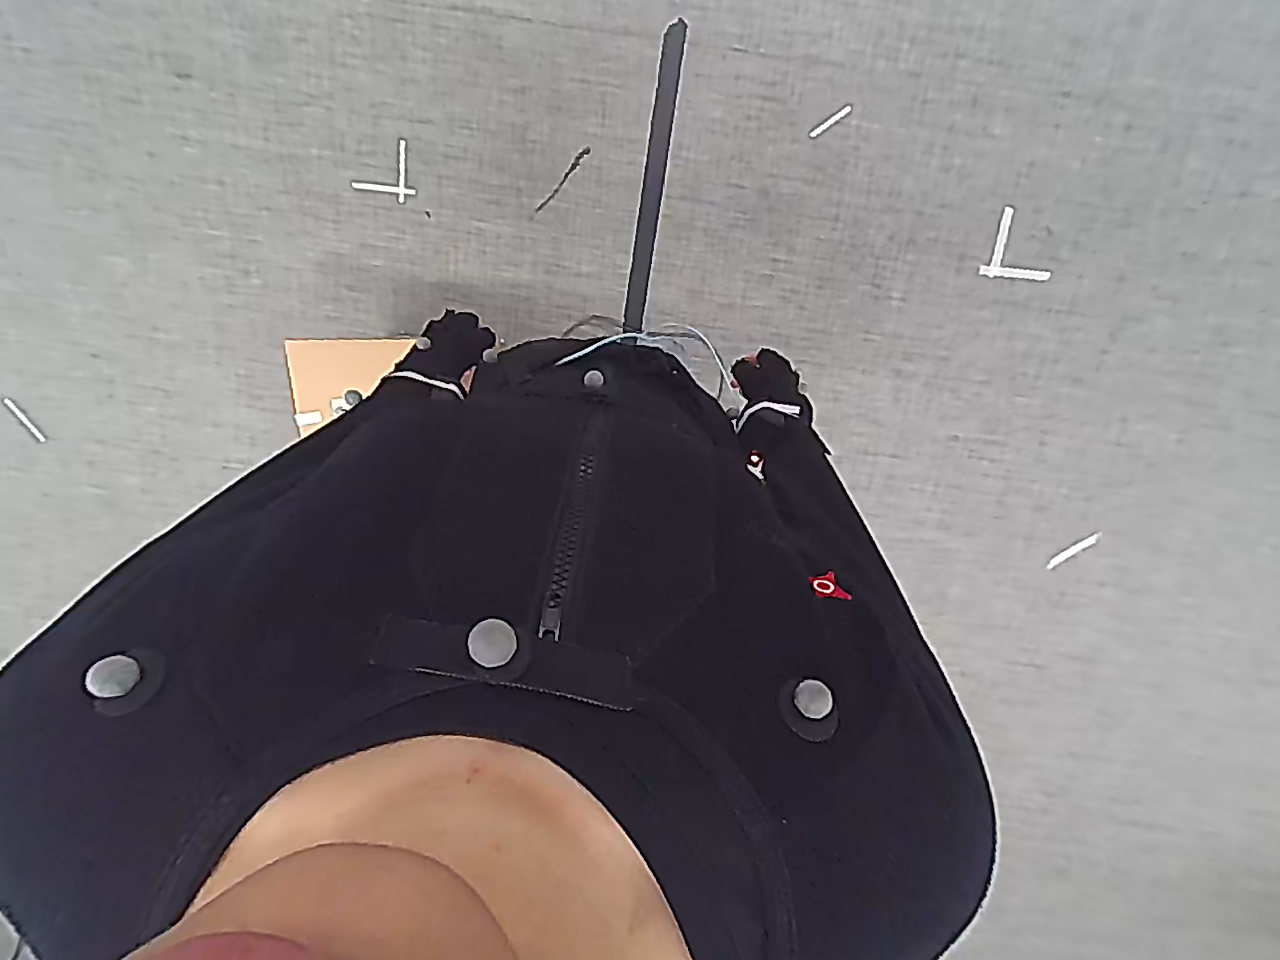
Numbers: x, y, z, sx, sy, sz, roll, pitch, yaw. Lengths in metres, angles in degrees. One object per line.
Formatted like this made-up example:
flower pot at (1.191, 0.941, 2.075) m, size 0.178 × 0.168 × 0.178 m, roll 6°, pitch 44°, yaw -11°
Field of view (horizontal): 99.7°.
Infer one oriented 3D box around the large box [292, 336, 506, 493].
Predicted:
large box at (-0.524, -0.173, 1.269) m, size 0.320 × 0.408 × 0.320 m, roll 1°, pitch 106°, yaw 0°
